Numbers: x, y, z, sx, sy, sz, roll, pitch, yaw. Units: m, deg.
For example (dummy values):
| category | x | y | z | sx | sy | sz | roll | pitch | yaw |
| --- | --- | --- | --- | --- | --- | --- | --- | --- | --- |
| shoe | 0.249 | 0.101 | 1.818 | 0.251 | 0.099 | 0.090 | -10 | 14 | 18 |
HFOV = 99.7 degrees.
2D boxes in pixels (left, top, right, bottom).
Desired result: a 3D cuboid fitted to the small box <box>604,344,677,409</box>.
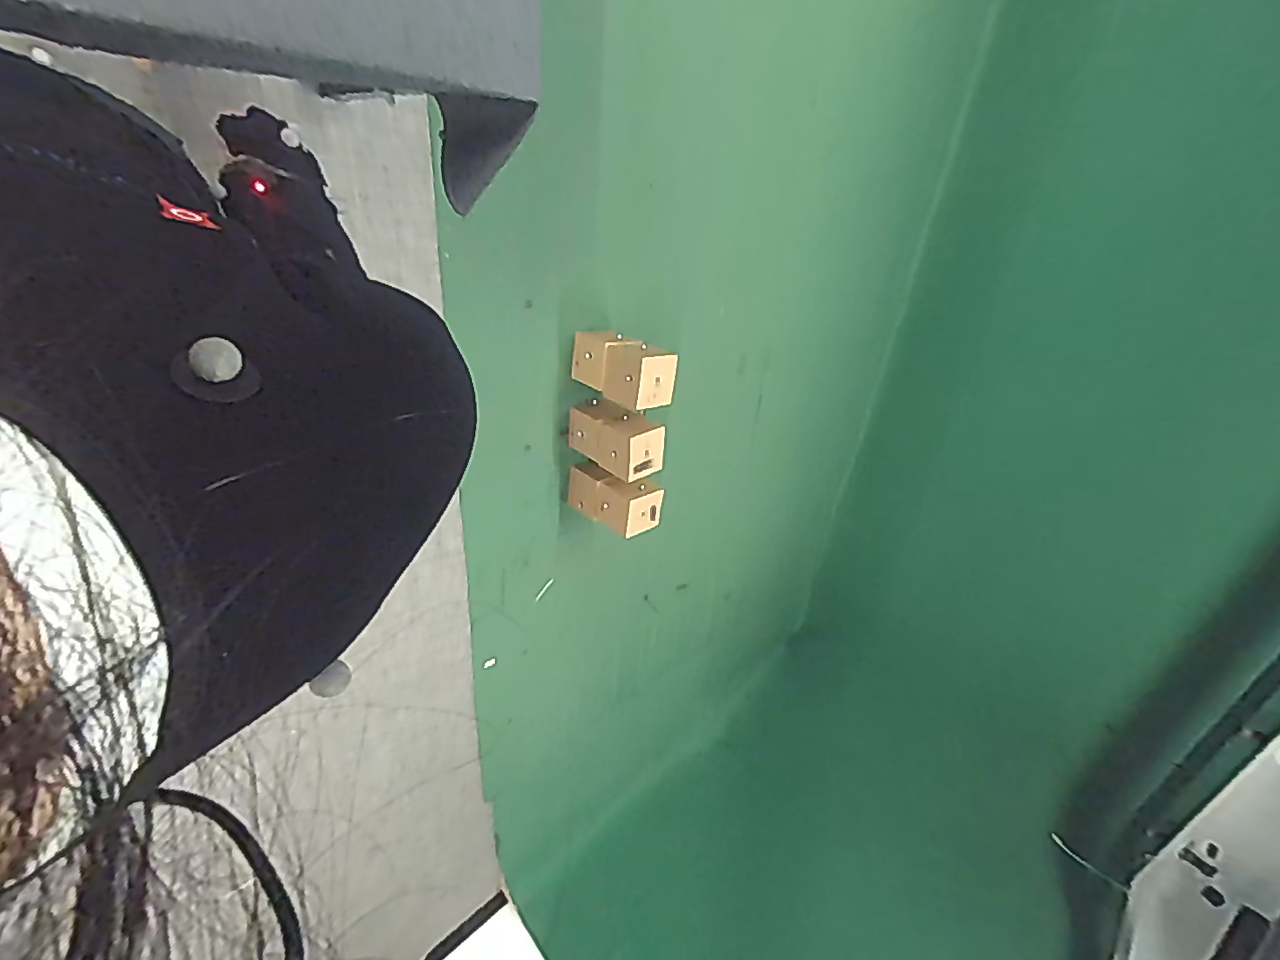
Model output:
| category | x | y | z | sx | sy | sz | roll | pitch | yaw |
| --- | --- | --- | --- | --- | --- | --- | --- | --- | --- |
| small box | -0.003 | -0.351 | 1.803 | 0.168 | 0.176 | 0.179 | -16 | 125 | -42 |

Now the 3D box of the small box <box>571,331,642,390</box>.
| category | x | y | z | sx | sy | sz | roll | pitch | yaw |
| --- | --- | --- | --- | --- | --- | --- | --- | --- | --- |
| small box | -0.122 | -0.422 | 1.894 | 0.179 | 0.176 | 0.168 | -15 | 124 | -43 |

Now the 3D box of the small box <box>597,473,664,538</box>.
| category | x | y | z | sx | sy | sz | roll | pitch | yaw |
| --- | --- | --- | --- | --- | --- | --- | --- | --- | --- |
| small box | -0.038 | 0.090 | 2.054 | 0.179 | 0.176 | 0.168 | -19 | 127 | -40 |

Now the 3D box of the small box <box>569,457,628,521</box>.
| category | x | y | z | sx | sy | sz | roll | pitch | yaw |
| --- | --- | --- | --- | --- | --- | --- | --- | --- | --- |
| small box | -0.167 | 0.031 | 2.138 | 0.168 | 0.176 | 0.179 | -17 | 126 | -41 |
